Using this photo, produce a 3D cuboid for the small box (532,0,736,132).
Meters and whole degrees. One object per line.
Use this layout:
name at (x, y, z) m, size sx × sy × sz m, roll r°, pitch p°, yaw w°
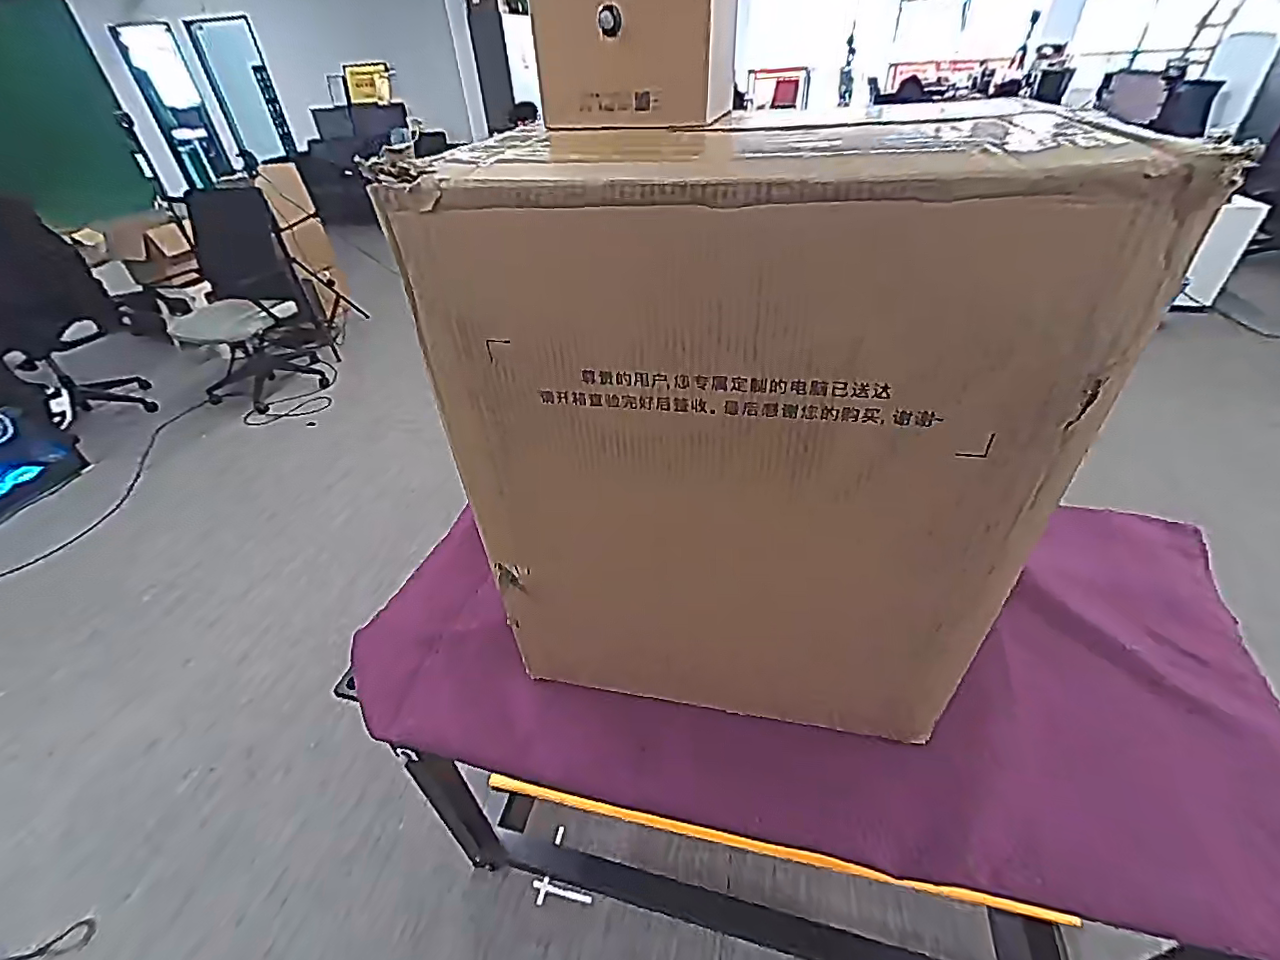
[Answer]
small box at (0.003, -0.452, 0.537) m, size 0.168 × 0.176 × 0.179 m, roll 8°, pitch 39°, yaw 13°
